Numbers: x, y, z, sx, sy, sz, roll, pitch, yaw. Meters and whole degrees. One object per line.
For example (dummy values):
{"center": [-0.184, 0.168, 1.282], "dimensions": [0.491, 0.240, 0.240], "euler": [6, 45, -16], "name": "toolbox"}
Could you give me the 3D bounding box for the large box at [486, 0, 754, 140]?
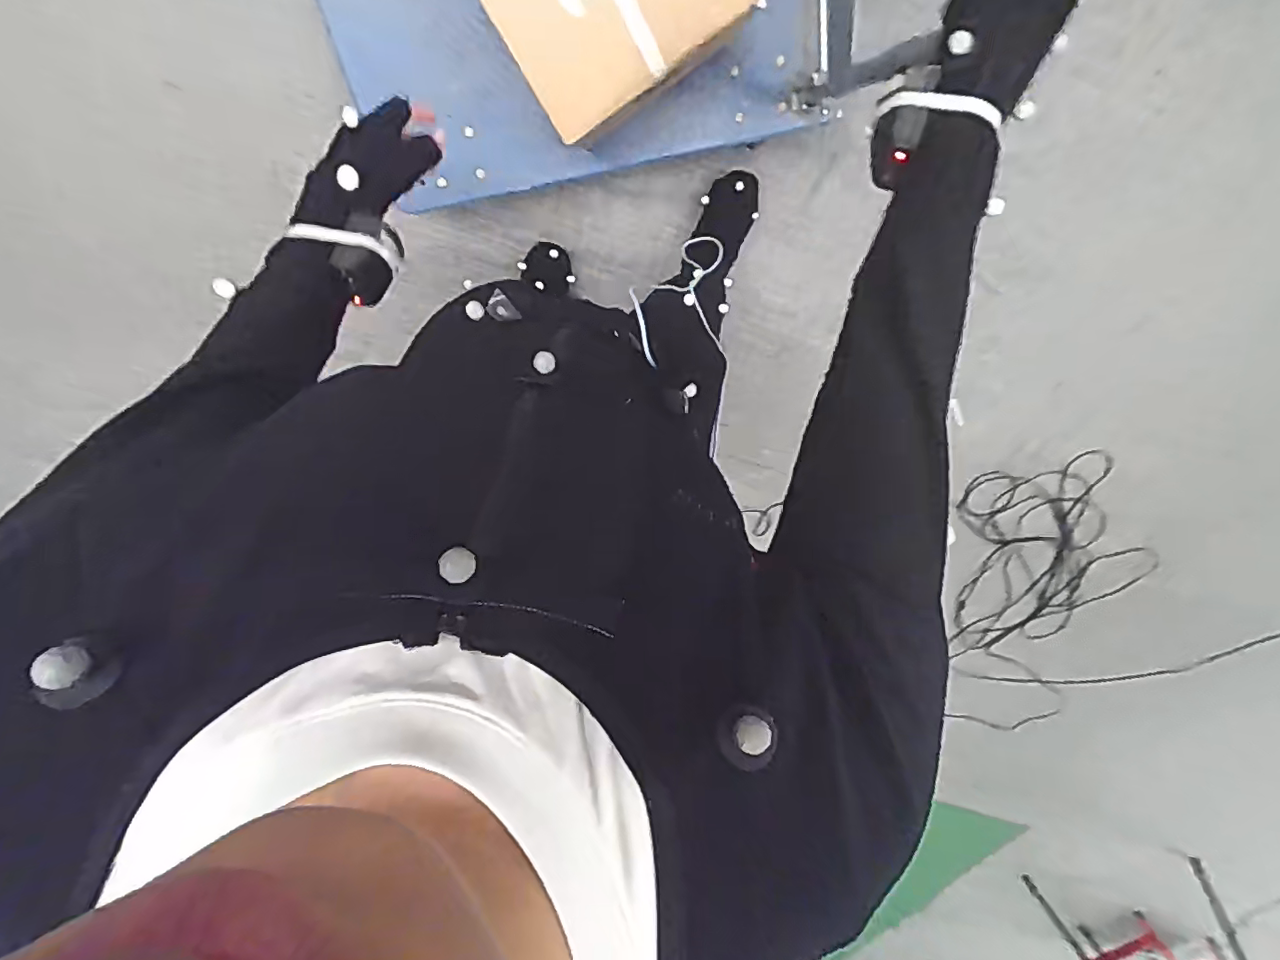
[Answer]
{"center": [-0.079, -0.775, 0.770], "dimensions": [0.320, 0.320, 0.408], "euler": [-29, 118, 17], "name": "large box"}
